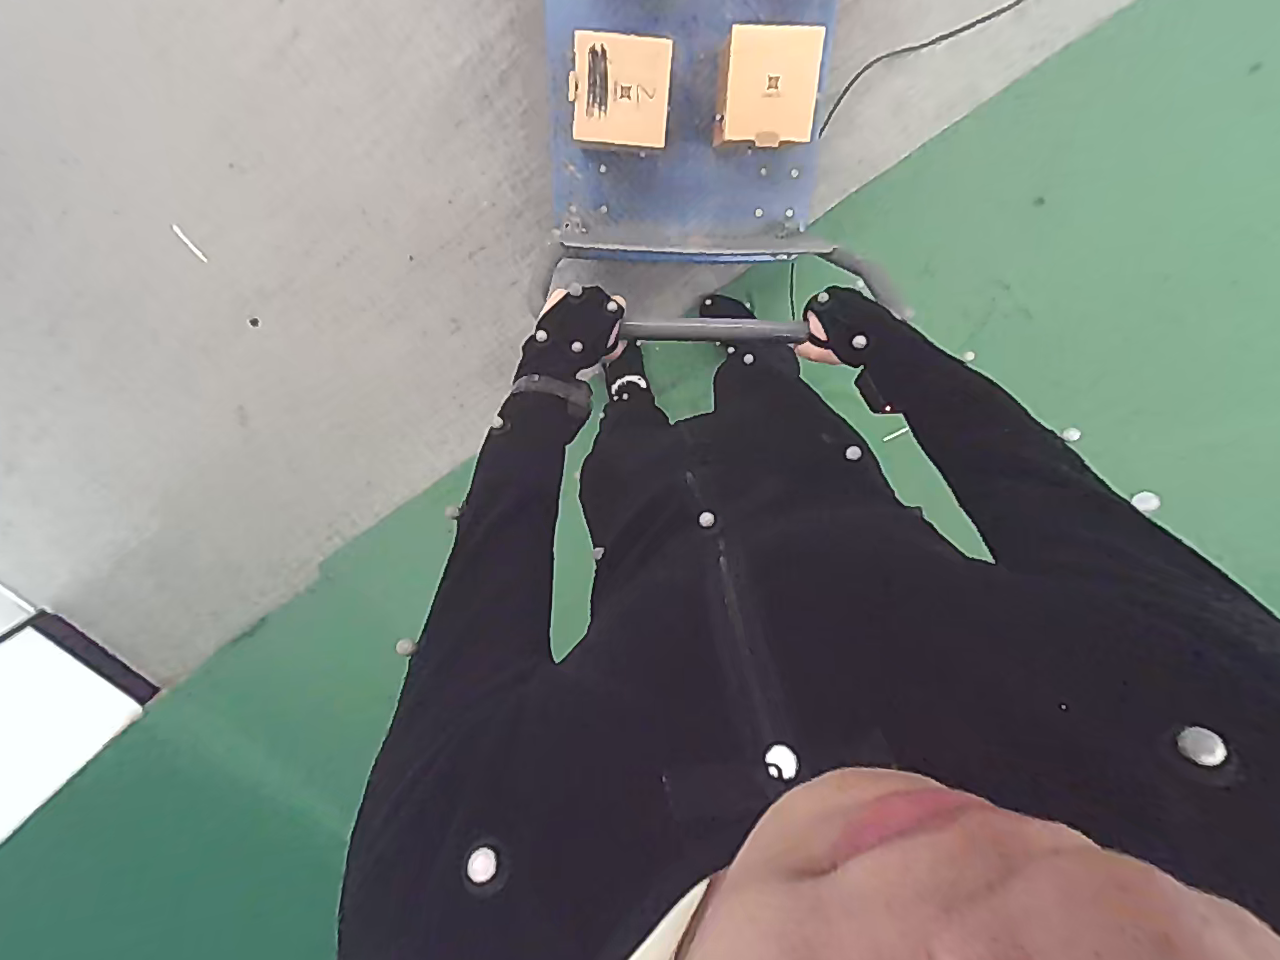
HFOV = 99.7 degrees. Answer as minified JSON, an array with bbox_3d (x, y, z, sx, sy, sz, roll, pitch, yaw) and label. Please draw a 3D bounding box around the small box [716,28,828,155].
[{"bbox_3d":[0.246,-0.745,1.054,0.168,0.176,0.179,1,118,-1],"label":"small box"}]
